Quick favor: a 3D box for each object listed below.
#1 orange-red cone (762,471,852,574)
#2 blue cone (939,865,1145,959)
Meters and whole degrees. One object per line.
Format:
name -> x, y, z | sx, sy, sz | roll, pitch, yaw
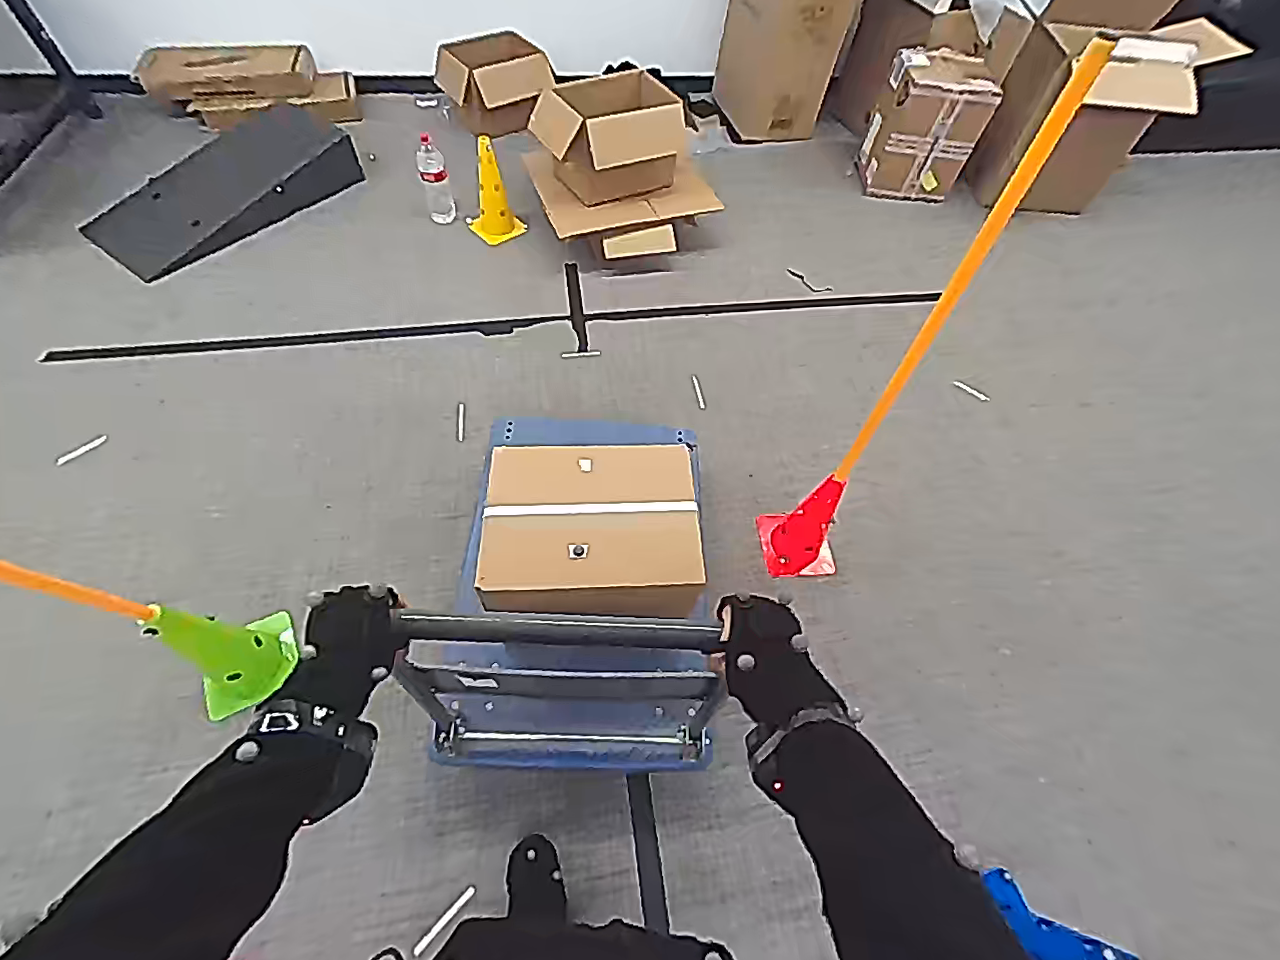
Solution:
orange-red cone -> 0.470, 0.087, 1.419 | 0.199, 0.360, 0.198 | 0, 57, -6
blue cone -> 0.742, 0.831, 0.969 | 0.193, 0.380, 0.192 | -9, 57, -11
